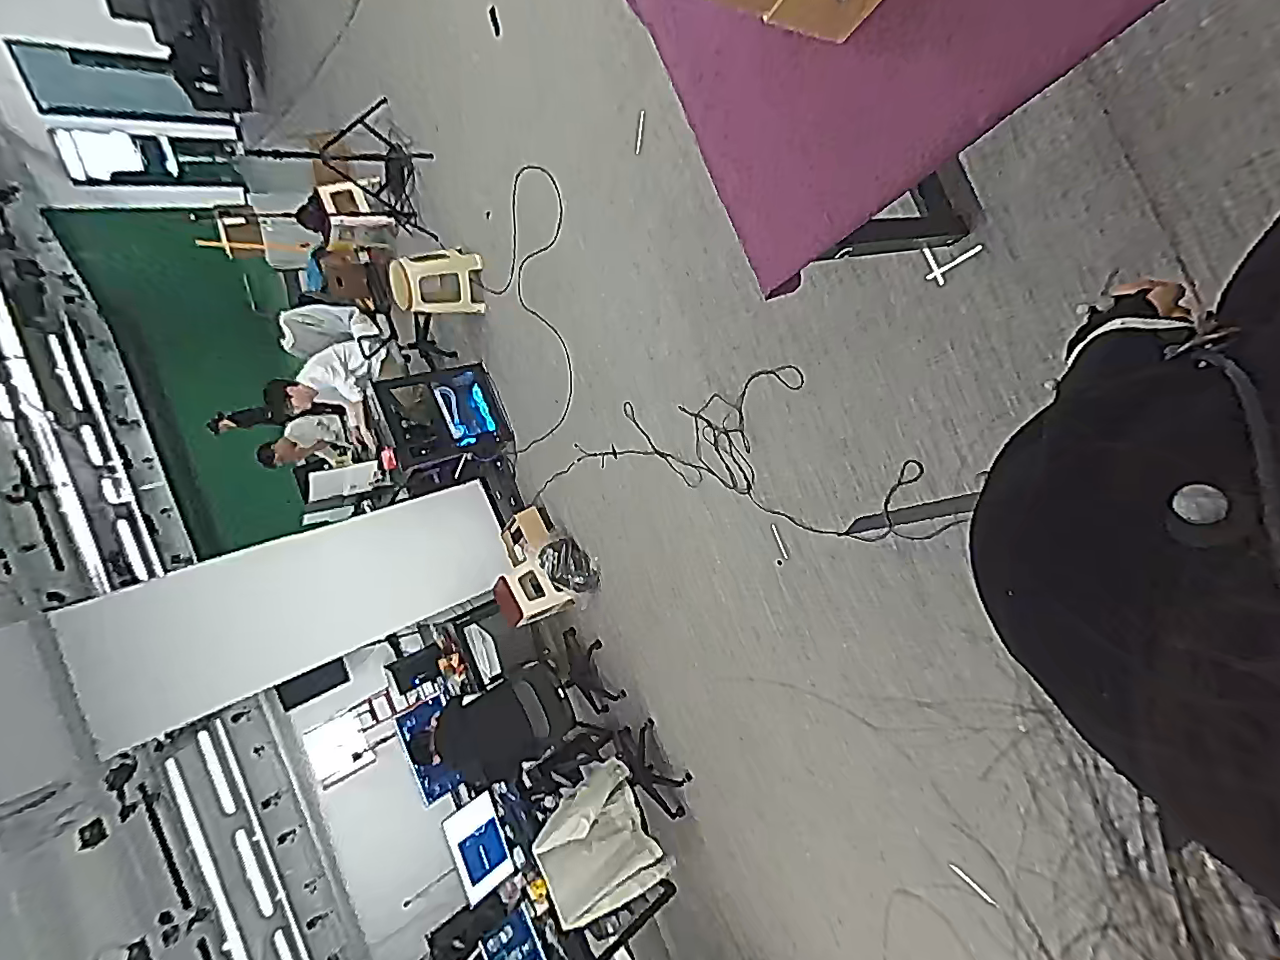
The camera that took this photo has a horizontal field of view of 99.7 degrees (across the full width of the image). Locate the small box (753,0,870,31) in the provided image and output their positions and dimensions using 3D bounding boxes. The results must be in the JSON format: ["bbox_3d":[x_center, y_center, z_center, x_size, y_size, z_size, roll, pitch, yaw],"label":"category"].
[{"bbox_3d":[0.212,-0.652,0.606,0.168,0.176,0.179,-24,87,55],"label":"small box"}]
